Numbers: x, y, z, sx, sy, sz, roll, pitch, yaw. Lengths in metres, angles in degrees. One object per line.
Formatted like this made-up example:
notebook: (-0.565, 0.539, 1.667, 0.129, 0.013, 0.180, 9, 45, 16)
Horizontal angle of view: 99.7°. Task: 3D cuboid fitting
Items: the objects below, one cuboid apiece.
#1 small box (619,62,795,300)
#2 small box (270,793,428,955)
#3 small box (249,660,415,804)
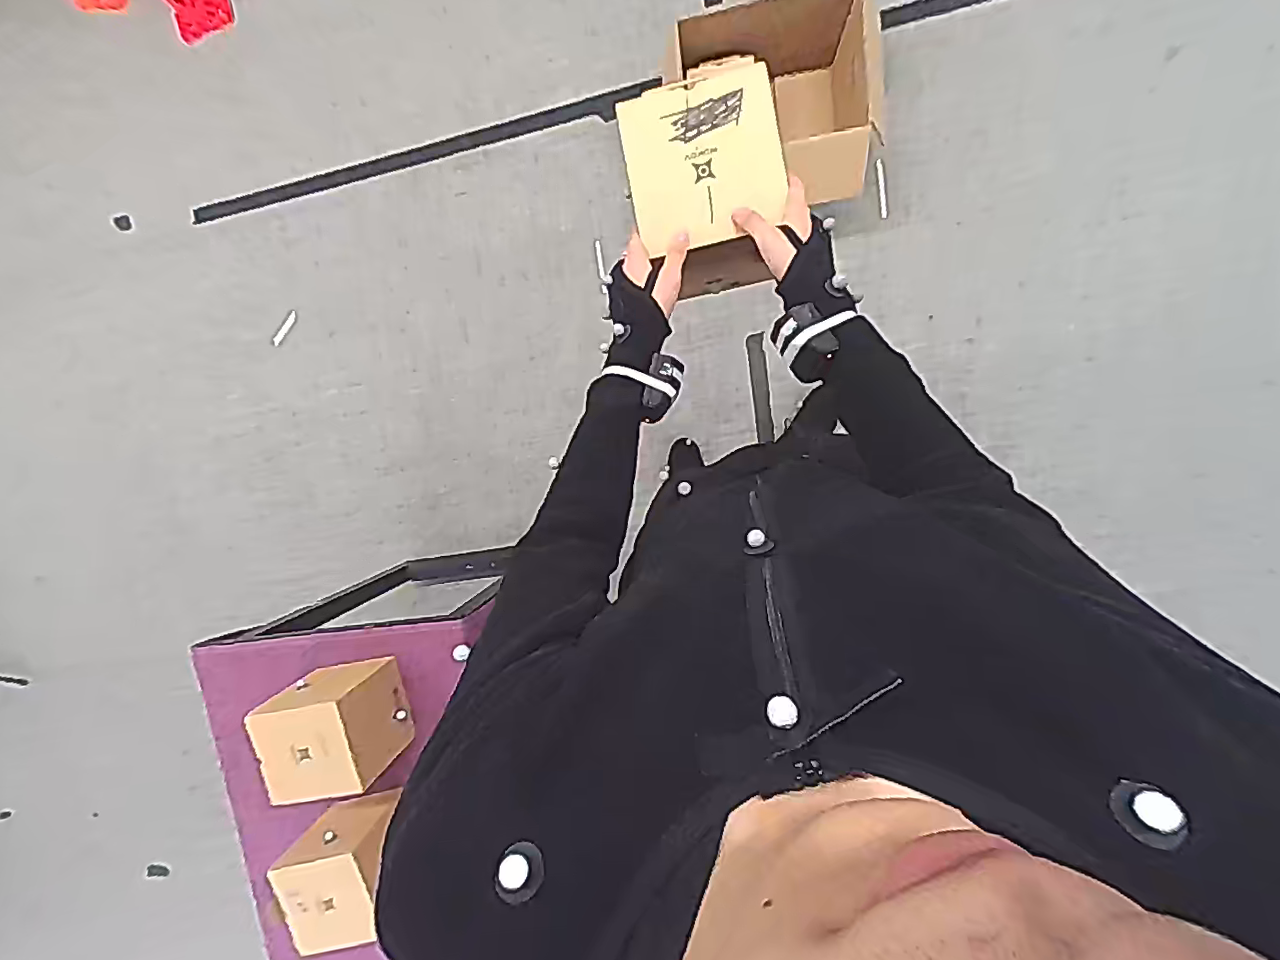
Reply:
small box: (0.080, -0.344, 0.659, 0.168, 0.176, 0.179, -11, 90, 9)
small box: (-0.521, 0.715, 1.000, 0.179, 0.176, 0.168, -18, 93, 11)
small box: (-0.543, 0.445, 0.973, 0.179, 0.176, 0.168, -12, 96, 10)
